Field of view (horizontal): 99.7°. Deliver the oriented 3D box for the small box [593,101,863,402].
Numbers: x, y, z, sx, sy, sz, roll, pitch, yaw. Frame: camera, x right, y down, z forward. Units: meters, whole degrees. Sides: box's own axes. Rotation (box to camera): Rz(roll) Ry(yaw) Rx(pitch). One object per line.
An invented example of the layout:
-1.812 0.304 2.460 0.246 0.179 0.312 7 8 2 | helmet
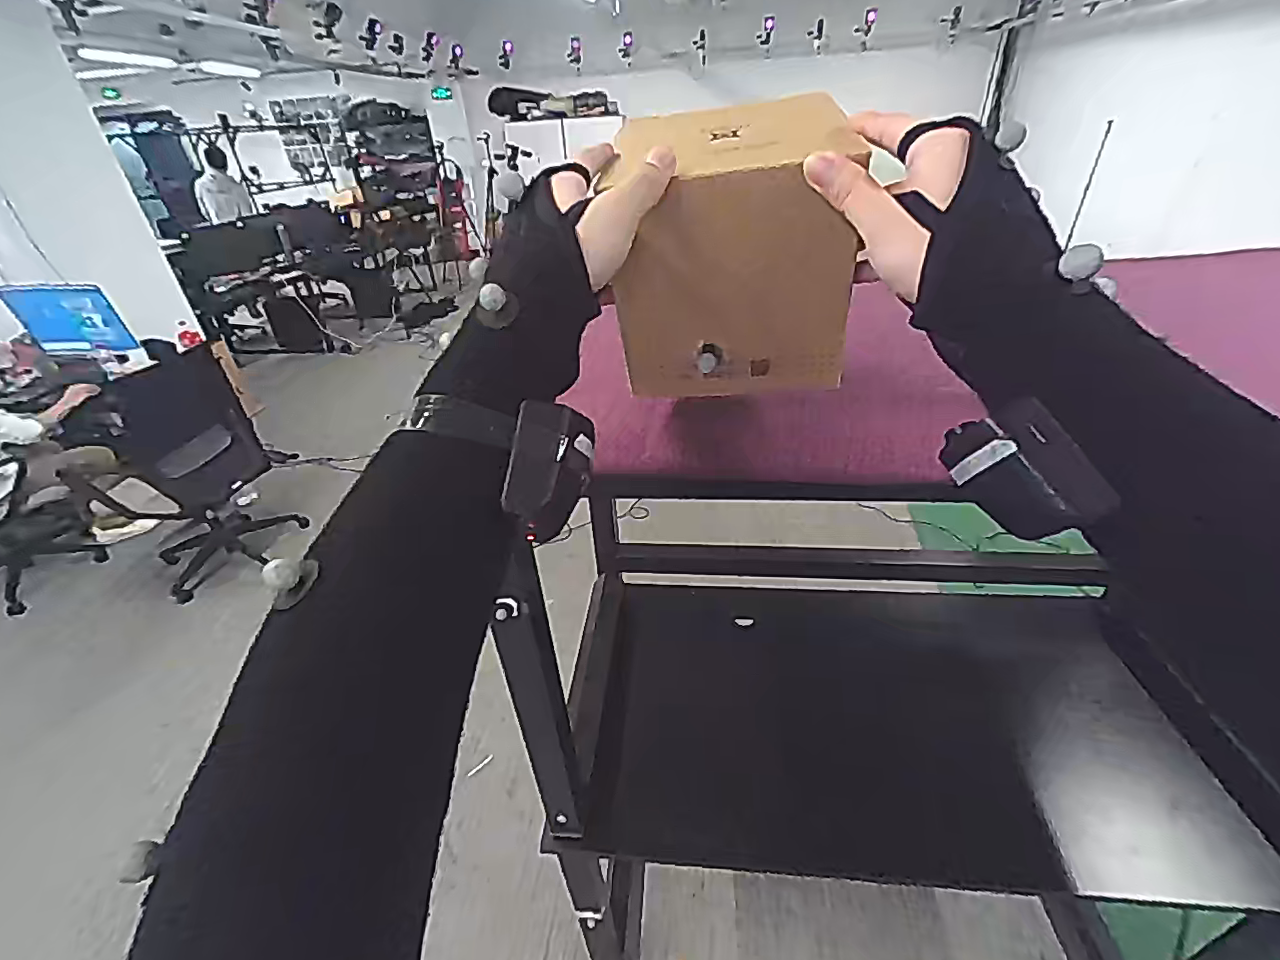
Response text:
0.069 -0.182 0.439 0.168 0.176 0.179 -1 45 10 | small box
